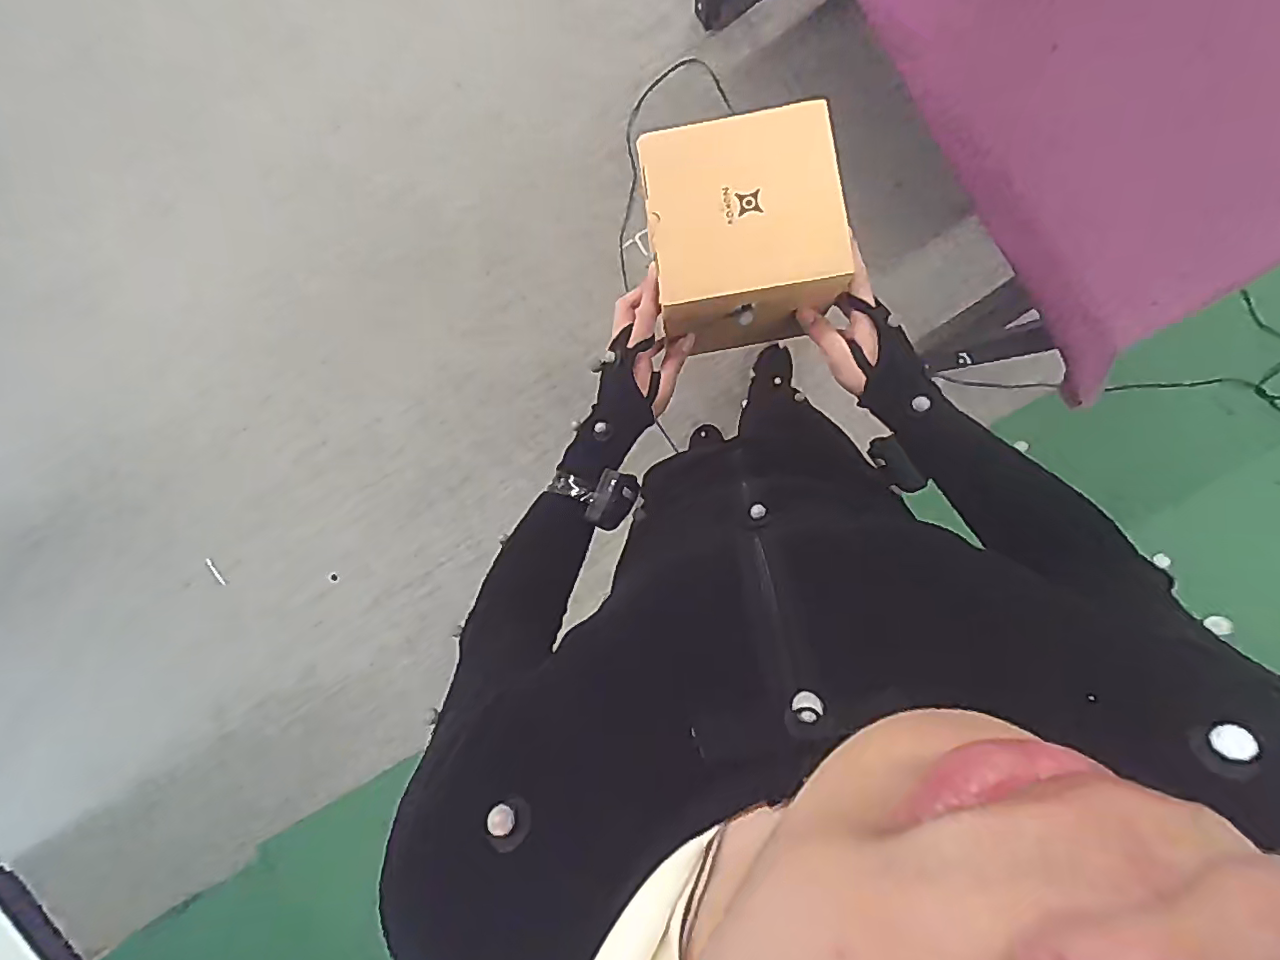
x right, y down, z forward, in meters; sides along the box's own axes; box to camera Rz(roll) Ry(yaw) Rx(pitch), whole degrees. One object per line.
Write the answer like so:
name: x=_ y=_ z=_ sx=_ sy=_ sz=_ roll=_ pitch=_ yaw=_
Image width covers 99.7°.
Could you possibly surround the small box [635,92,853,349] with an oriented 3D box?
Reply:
small box: x=0.099 y=-0.250 z=0.564 sx=0.179 sy=0.176 sz=0.168 roll=-9 pitch=86 yaw=6
